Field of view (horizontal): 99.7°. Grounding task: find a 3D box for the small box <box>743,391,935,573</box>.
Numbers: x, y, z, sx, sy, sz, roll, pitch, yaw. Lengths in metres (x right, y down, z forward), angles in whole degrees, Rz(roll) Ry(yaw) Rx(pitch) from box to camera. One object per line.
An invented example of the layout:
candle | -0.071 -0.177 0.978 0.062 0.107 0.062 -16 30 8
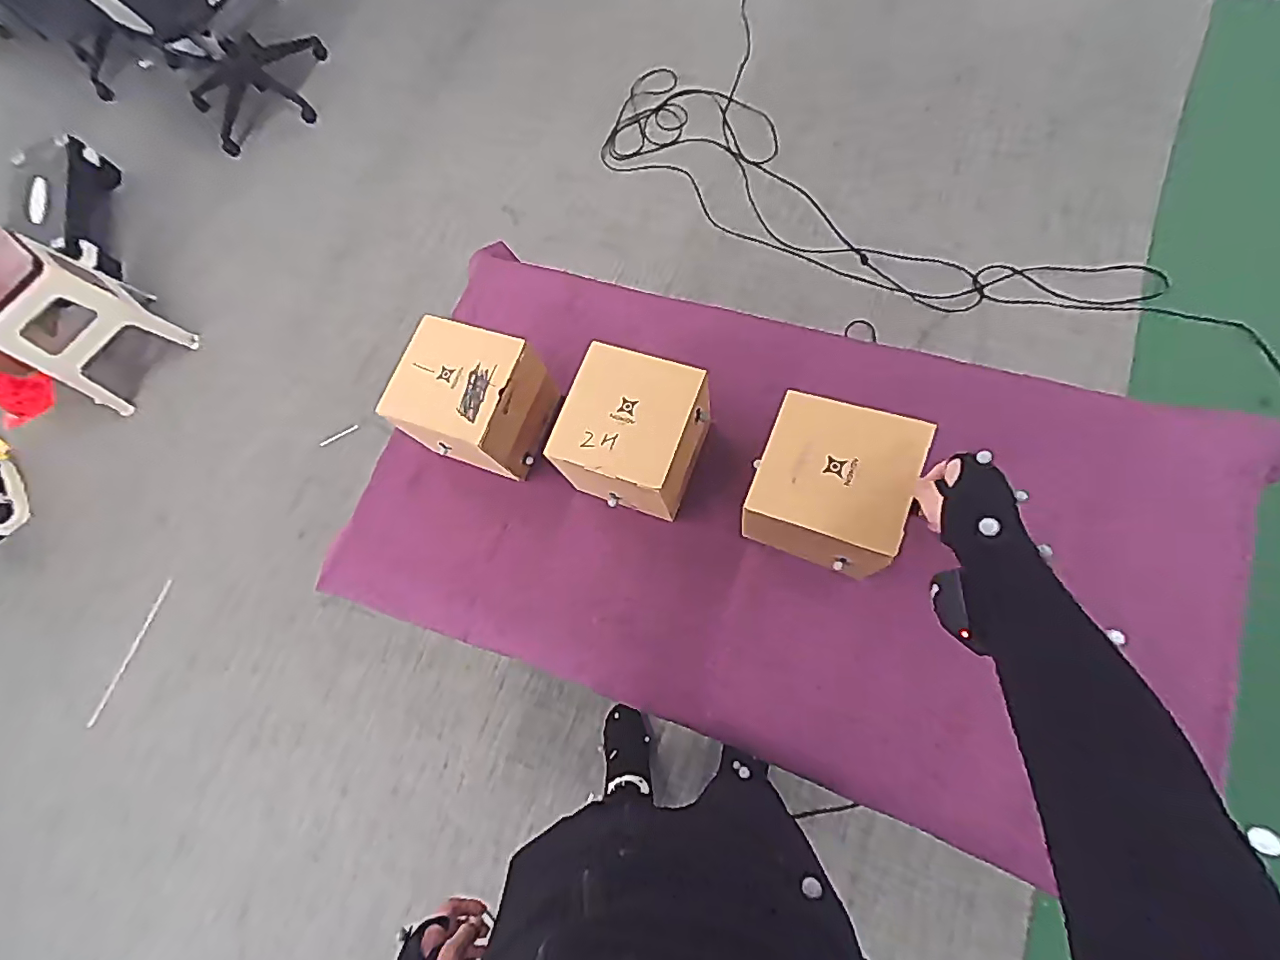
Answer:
small box | 0.245 0.013 0.705 0.179 0.176 0.168 21 77 16

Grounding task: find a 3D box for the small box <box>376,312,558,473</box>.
small box | -0.248 -0.123 0.824 0.179 0.176 0.168 18 77 15

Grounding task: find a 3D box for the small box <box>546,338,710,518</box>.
small box | -0.006 -0.066 0.768 0.168 0.176 0.179 19 77 14
